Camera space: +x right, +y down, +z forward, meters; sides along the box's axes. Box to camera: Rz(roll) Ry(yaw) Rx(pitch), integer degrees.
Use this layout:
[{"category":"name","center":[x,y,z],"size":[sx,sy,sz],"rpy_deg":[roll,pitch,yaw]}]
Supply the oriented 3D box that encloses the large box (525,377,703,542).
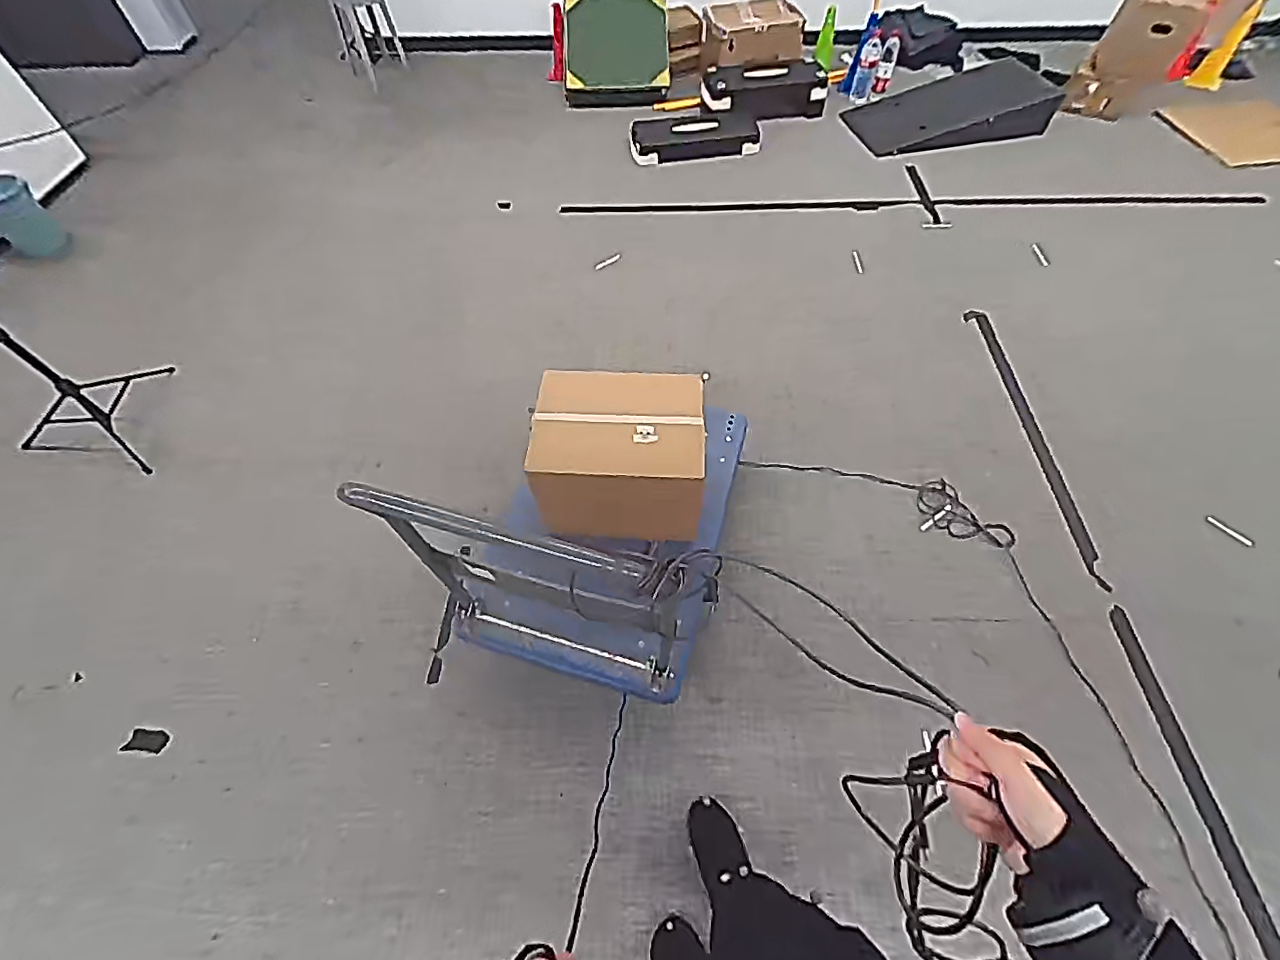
[{"category":"large box","center":[-0.056,-0.047,1.396],"size":[0.408,0.320,0.320],"rpy_deg":[2,57,2]}]
